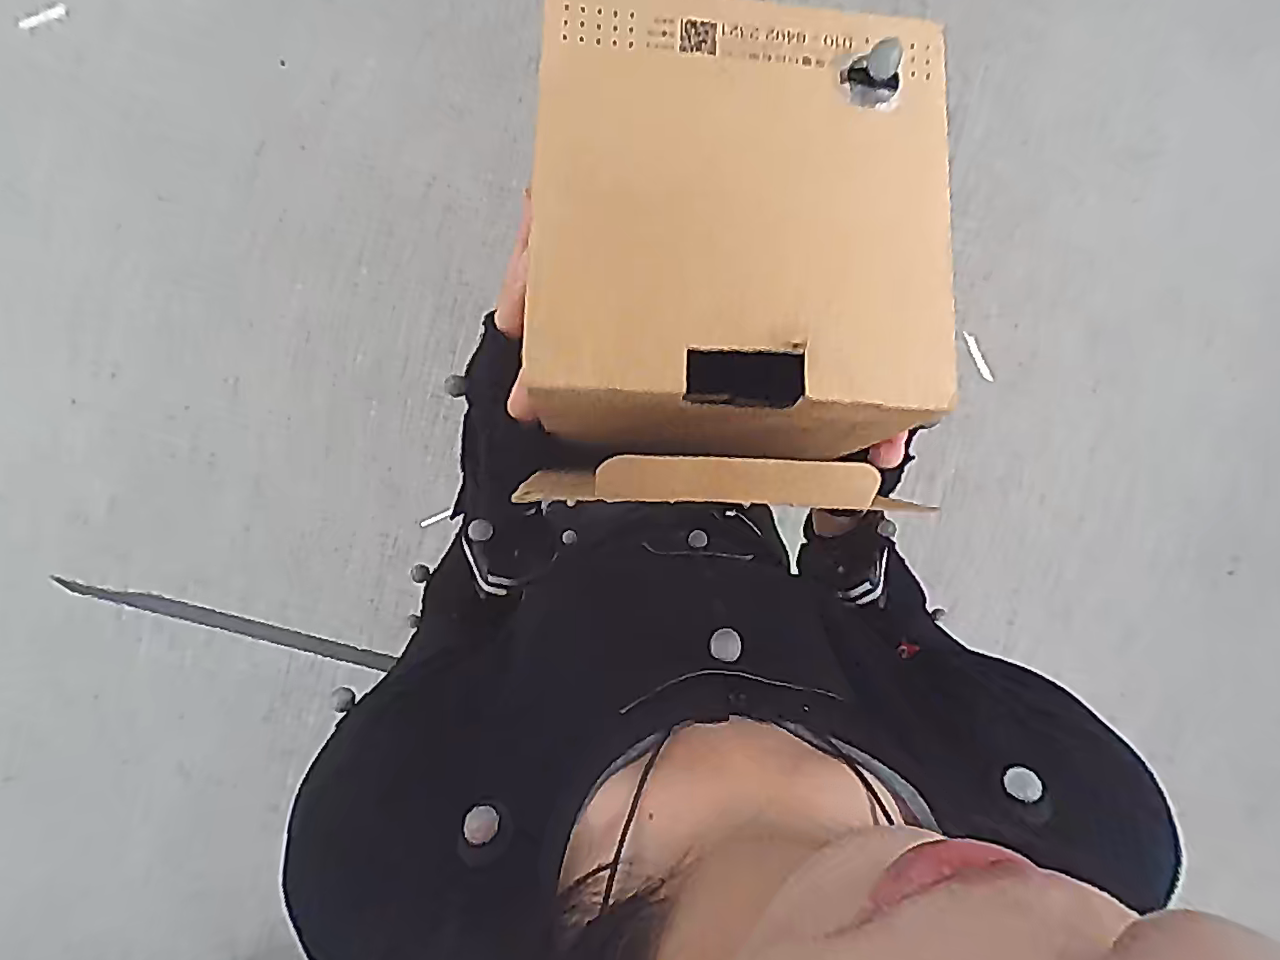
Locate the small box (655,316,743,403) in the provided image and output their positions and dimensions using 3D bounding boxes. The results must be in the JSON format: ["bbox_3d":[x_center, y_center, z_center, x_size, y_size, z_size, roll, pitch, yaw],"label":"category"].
[{"bbox_3d":[0.142,-0.299,1.381,0.179,0.176,0.168,16,94,-2],"label":"small box"}]
